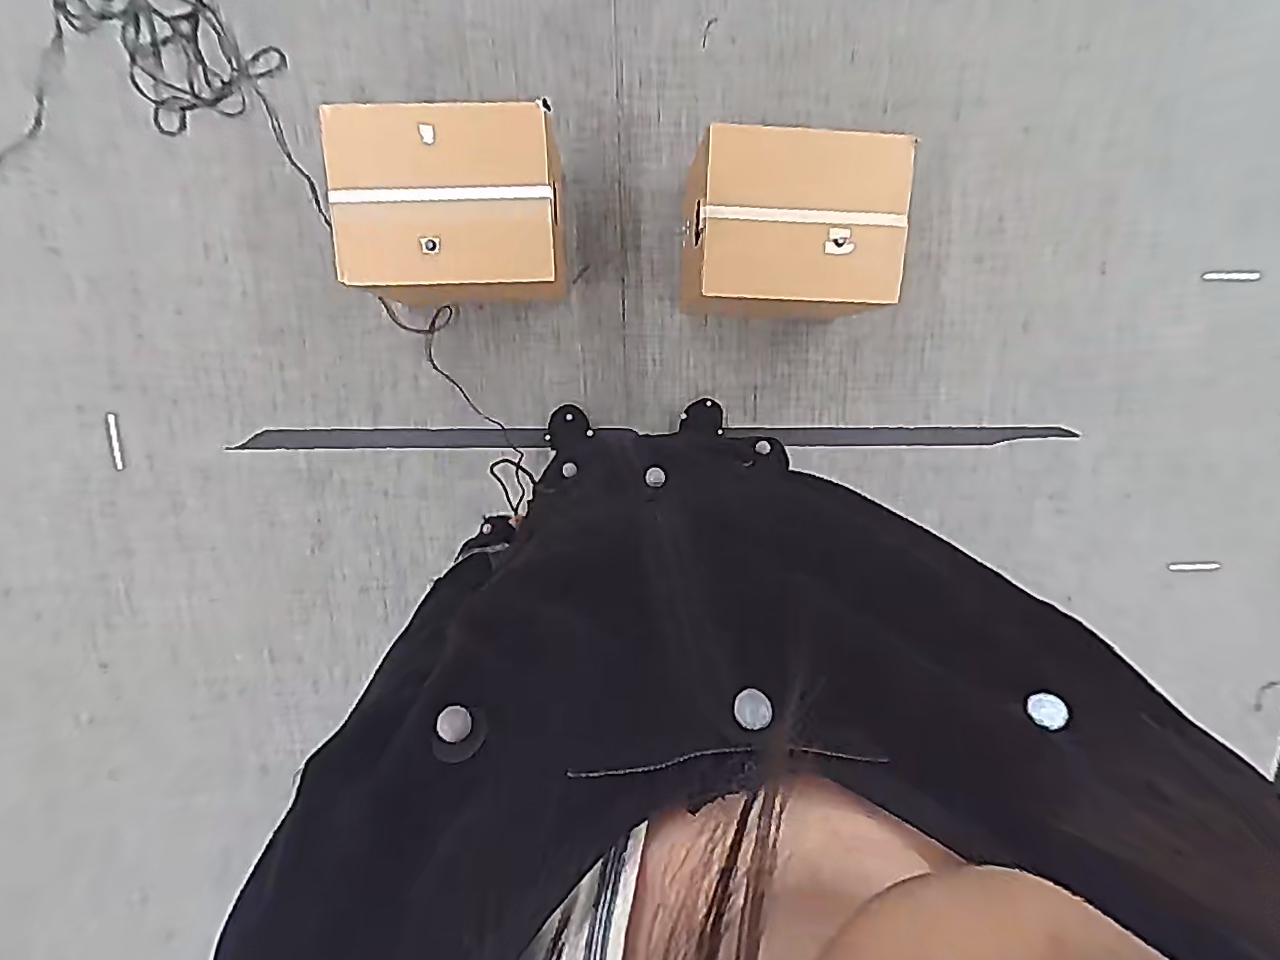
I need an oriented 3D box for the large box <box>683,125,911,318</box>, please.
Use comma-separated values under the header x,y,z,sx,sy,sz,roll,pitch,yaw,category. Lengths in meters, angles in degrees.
x,y,z,sx,sy,sz,roll,pitch,yaw,category
0.316,-0.543,1.206,0.408,0.320,0.320,1,101,-4,large box
